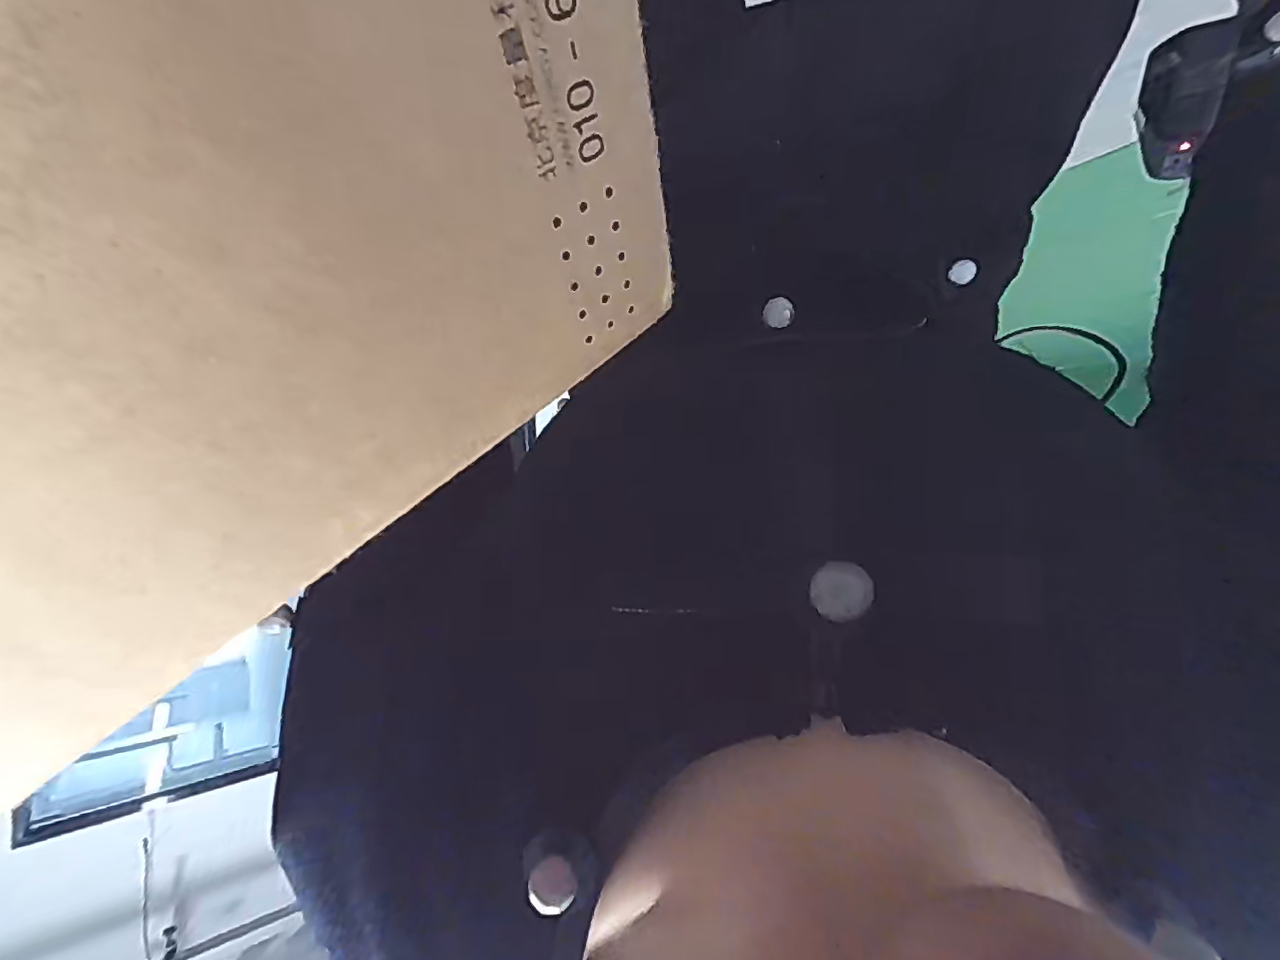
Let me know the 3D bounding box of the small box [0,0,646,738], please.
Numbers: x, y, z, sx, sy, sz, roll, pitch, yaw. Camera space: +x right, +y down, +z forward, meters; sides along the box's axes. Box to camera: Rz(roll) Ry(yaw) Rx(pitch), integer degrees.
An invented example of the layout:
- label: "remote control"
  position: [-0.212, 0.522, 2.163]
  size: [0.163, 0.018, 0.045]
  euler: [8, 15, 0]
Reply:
- label: "small box"
  position: [-0.124, -0.085, 0.097]
  size: [0.176, 0.168, 0.179]
  euler: [-41, -126, -20]
